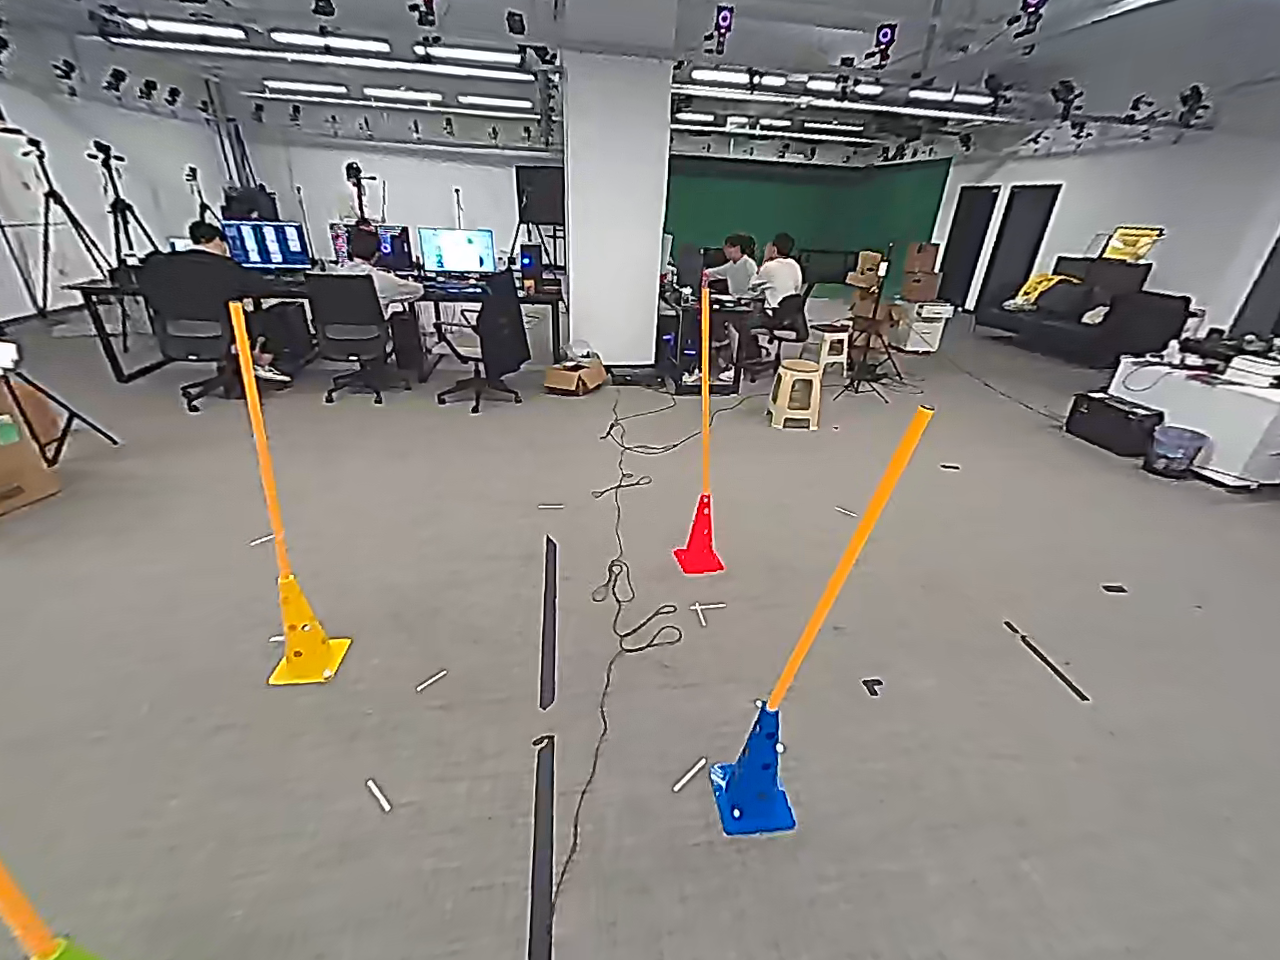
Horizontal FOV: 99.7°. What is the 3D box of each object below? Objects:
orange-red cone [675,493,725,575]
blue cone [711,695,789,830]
[{"bbox_3d":[0.281,0.222,2.422,0.199,0.360,0.198,-5,27,-12],"label":"orange-red cone"},{"bbox_3d":[0.313,0.729,1.434,0.193,0.380,0.192,0,26,-6],"label":"blue cone"}]
